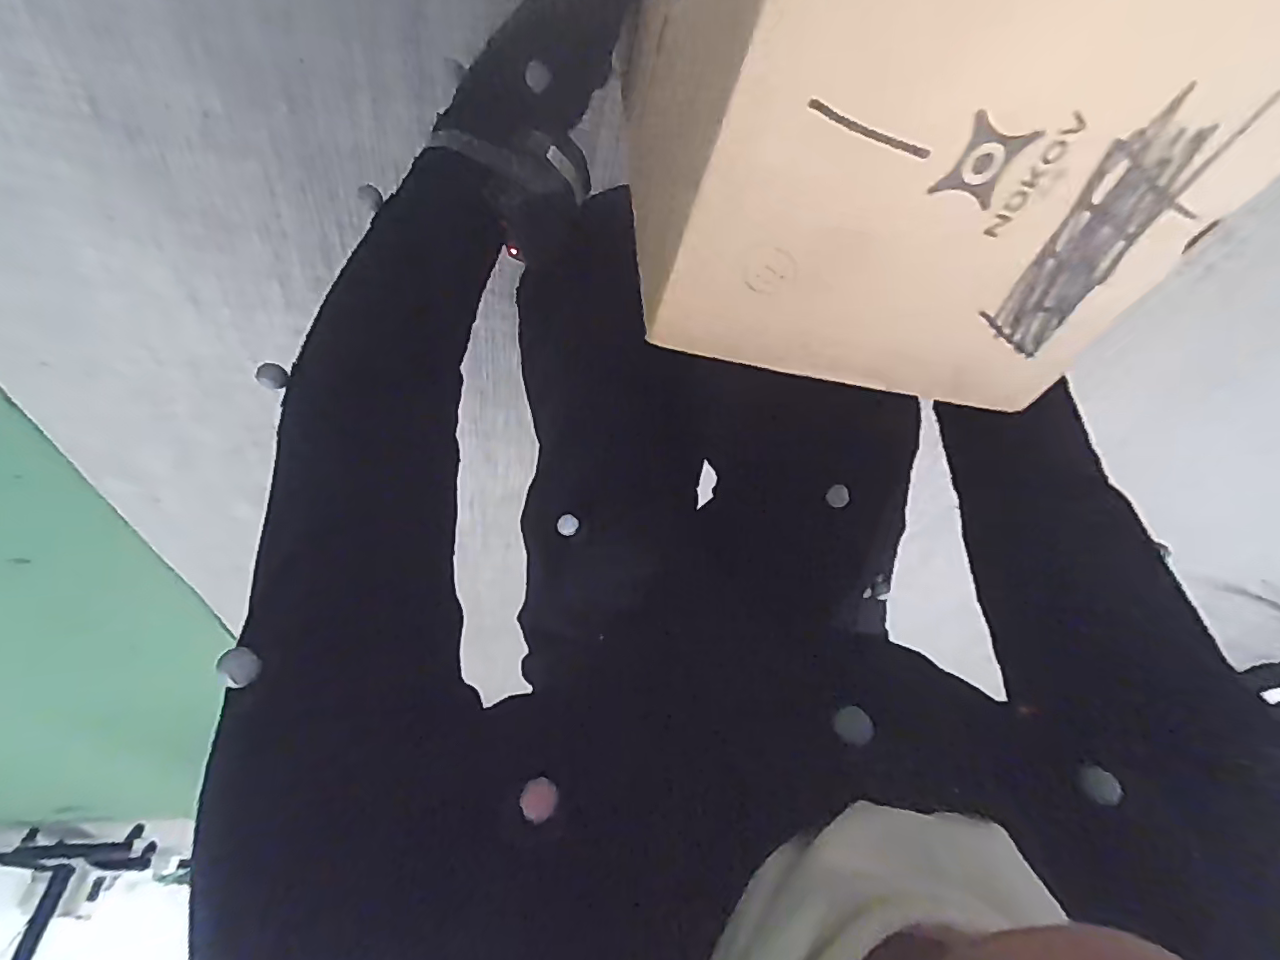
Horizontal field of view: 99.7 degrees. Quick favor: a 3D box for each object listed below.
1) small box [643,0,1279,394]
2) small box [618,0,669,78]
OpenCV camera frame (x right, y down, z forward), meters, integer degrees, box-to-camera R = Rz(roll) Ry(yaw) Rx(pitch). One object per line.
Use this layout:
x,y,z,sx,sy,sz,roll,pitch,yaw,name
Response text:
0.106,-0.158,0.216,0.179,0.176,0.168,4,141,-12,small box
0.083,-0.417,0.417,0.179,0.176,0.168,6,140,-10,small box
